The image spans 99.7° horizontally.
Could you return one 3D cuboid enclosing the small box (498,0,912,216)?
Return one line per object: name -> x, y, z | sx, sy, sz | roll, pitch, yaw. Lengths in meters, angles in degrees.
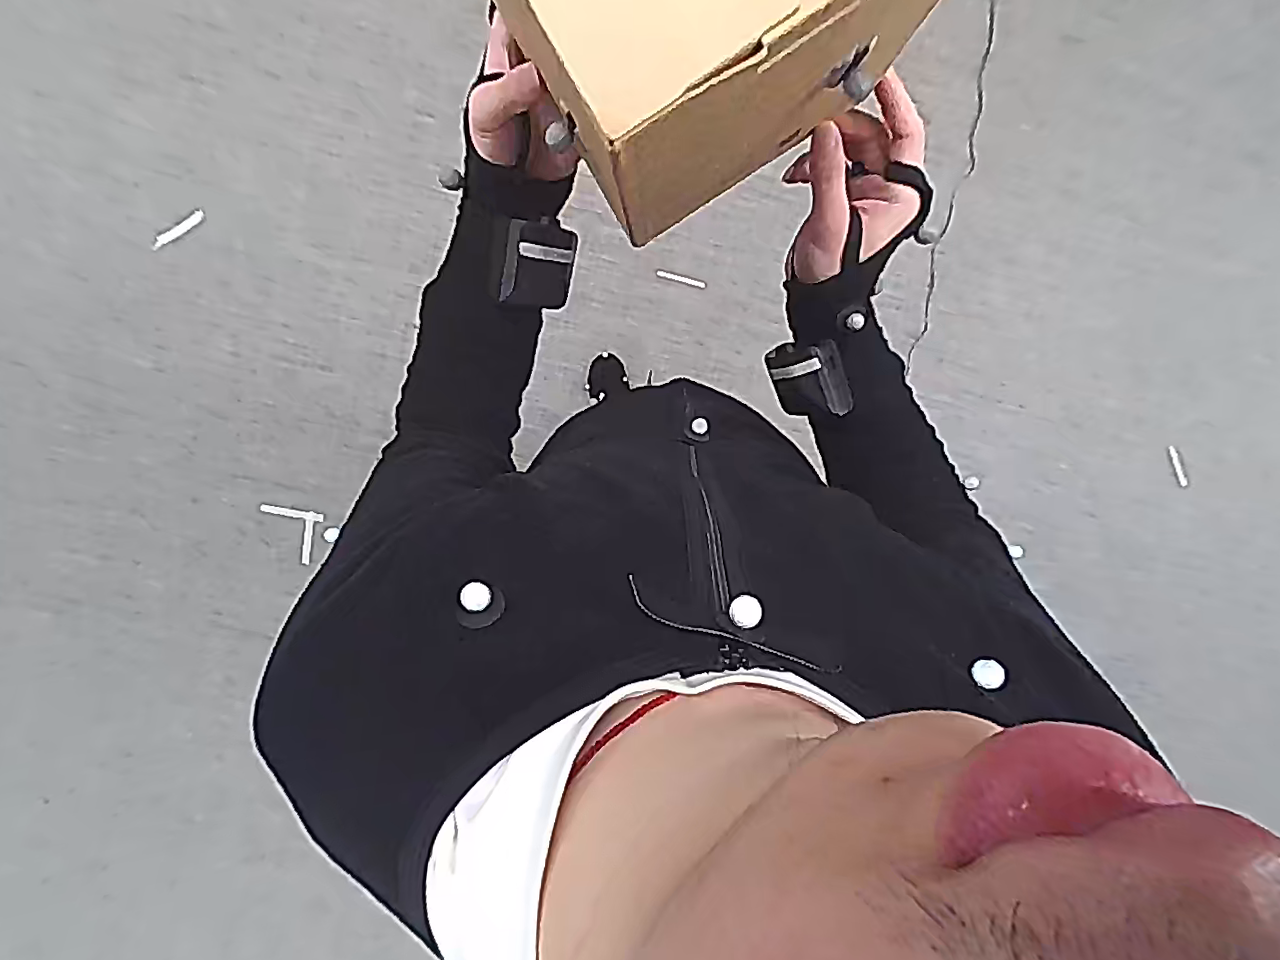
small box -> 0.020, -0.251, 0.251 | 0.168, 0.176, 0.179 | -31, 98, 7
